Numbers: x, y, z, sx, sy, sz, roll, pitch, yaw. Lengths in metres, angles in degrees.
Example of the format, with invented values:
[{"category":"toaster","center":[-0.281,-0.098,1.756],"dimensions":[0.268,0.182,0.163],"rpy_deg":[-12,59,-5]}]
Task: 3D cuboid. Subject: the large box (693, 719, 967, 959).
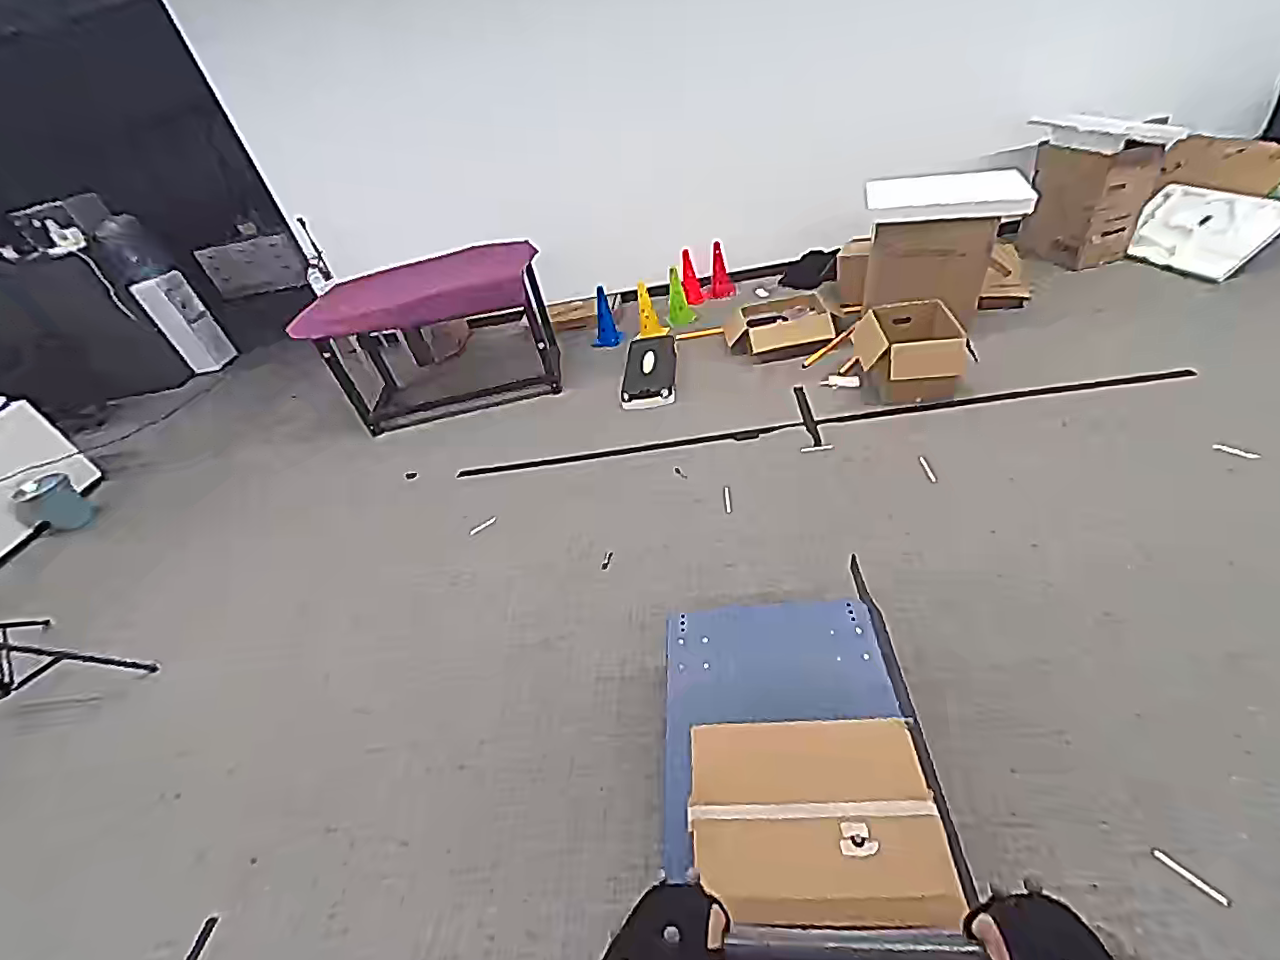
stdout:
[{"category":"large box","center":[0.320,0.687,1.030],"dimensions":[0.408,0.320,0.320],"rpy_deg":[-6,40,8]}]
